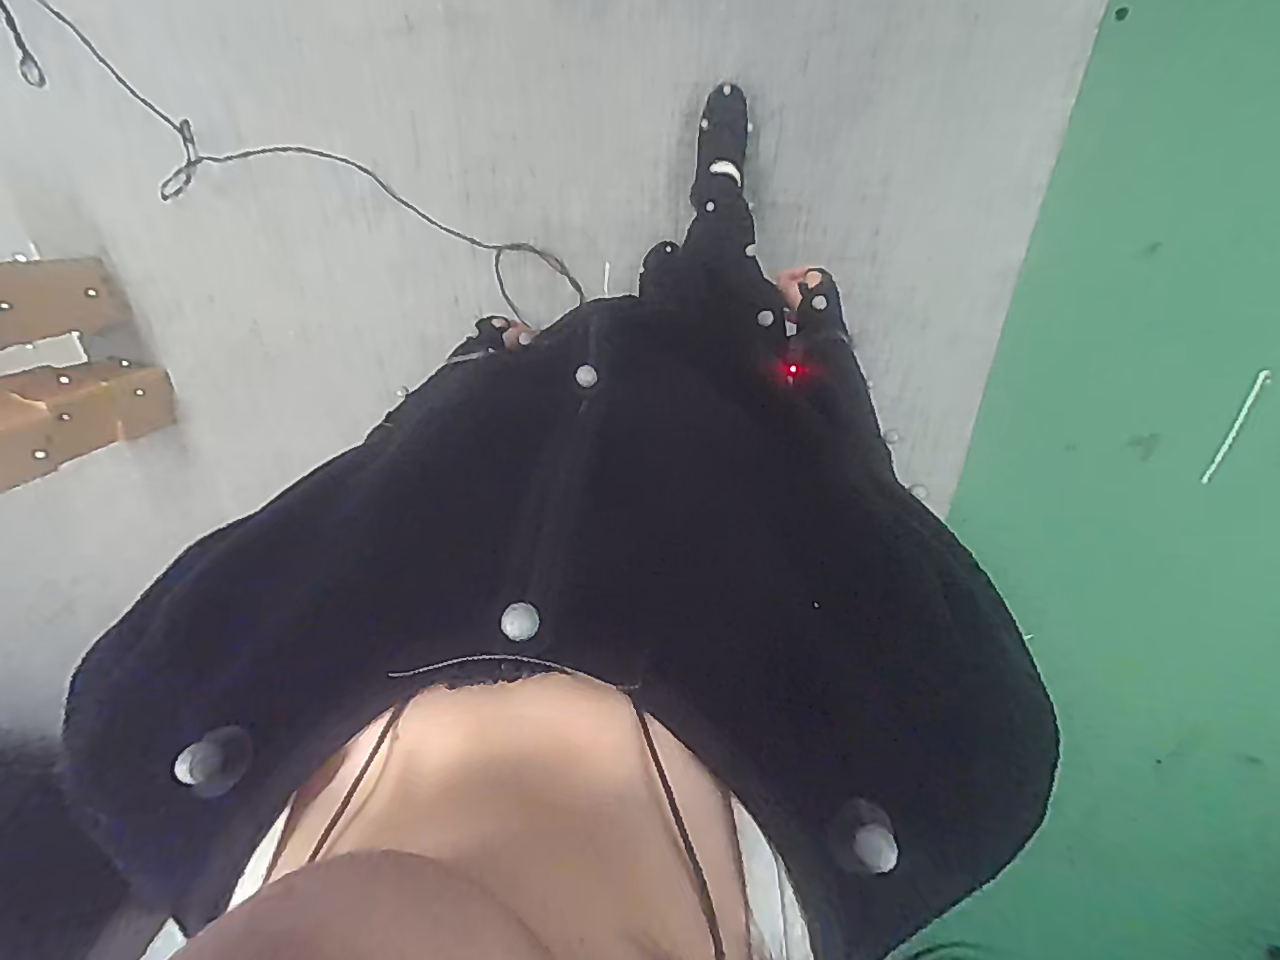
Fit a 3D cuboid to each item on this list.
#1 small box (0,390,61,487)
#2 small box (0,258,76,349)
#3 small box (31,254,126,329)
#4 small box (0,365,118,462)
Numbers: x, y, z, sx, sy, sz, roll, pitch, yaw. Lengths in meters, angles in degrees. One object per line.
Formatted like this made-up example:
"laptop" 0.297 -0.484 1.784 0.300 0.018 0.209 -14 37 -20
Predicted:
"small box" -1.486 -0.094 1.224 0.179 0.176 0.168 23 116 -7
"small box" -1.493 -0.402 1.250 0.168 0.176 0.179 -8 116 7
"small box" -1.494 -0.482 1.393 0.179 0.176 0.168 -4 116 7
"small box" -1.481 -0.169 1.370 0.168 0.176 0.179 19 116 -4
